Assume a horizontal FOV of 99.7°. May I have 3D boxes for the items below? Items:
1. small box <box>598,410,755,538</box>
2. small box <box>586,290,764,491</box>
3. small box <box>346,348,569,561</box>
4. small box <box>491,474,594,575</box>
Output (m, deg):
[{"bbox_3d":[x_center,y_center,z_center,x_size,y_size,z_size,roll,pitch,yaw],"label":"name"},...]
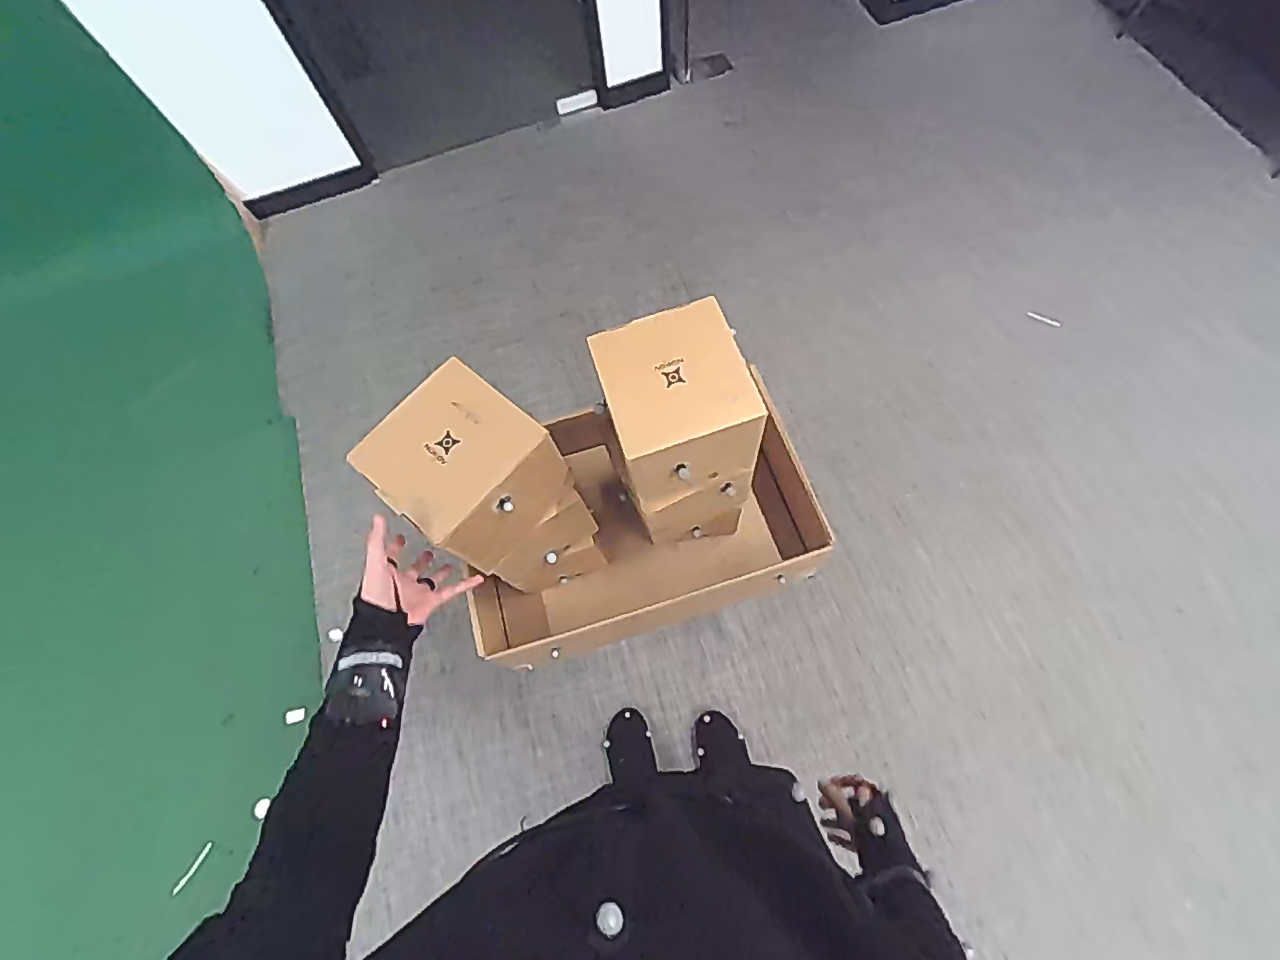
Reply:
[{"bbox_3d":[0.055,-0.033,0.837,0.179,0.176,0.168,-26,68,-4],"label":"small box"},{"bbox_3d":[0.045,-0.100,0.690,0.168,0.176,0.179,-18,67,-1],"label":"small box"},{"bbox_3d":[-0.212,-0.021,0.681,0.168,0.176,0.179,39,77,16],"label":"small box"},{"bbox_3d":[-0.190,0.024,0.836,0.168,0.176,0.179,-34,71,-7],"label":"small box"}]
